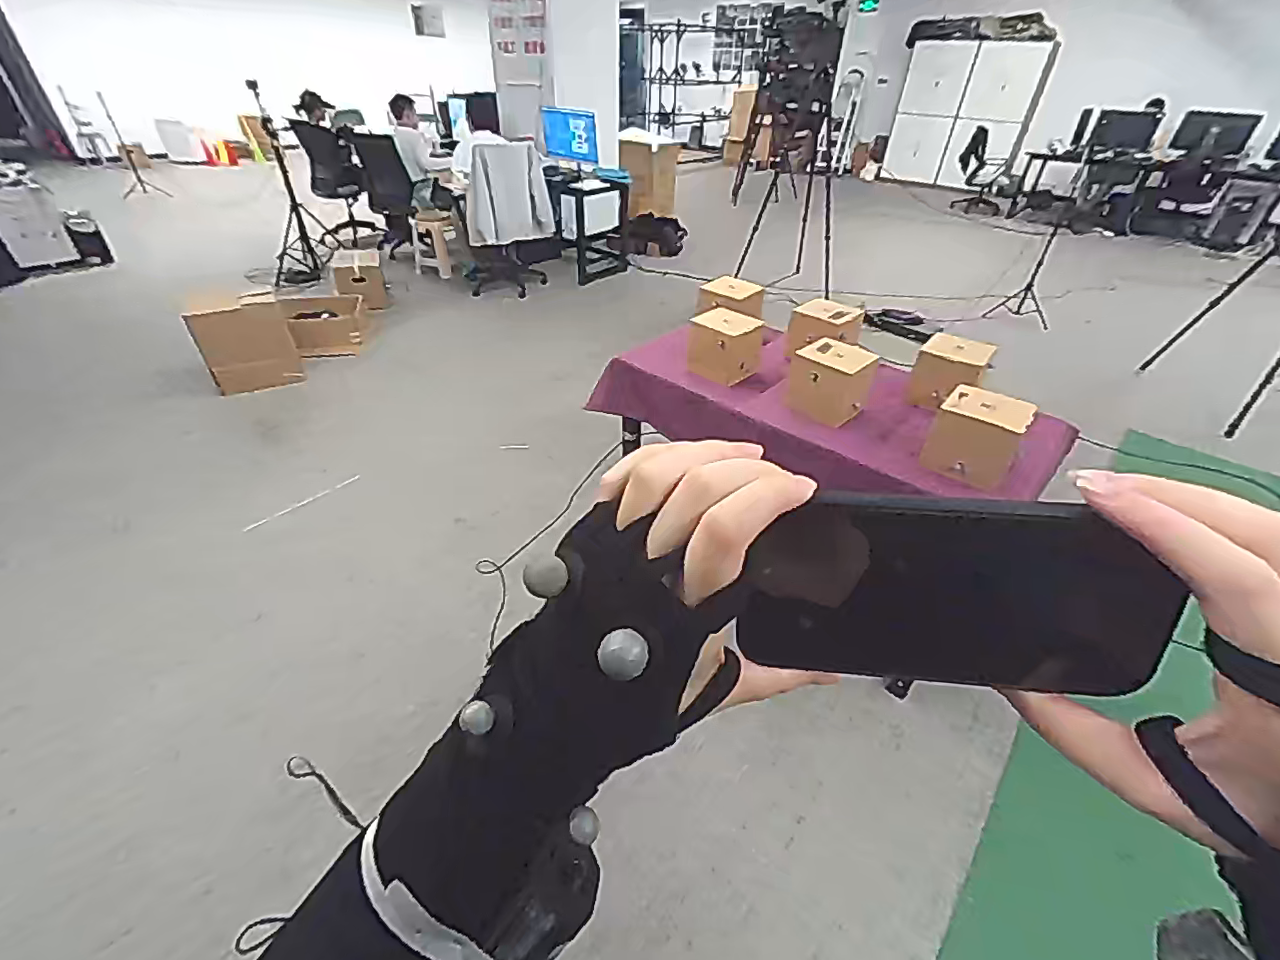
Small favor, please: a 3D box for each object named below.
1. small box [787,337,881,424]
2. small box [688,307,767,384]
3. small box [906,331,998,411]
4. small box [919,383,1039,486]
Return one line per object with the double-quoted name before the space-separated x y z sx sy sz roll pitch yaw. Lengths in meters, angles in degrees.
"small box" 0.539 -0.280 1.523 0.168 0.176 0.179 -30 49 -34
"small box" 0.268 -0.422 1.698 0.179 0.176 0.168 32 47 32
"small box" 0.900 -0.310 1.572 0.168 0.176 0.179 27 45 30
"small box" 0.814 -0.107 1.306 0.179 0.176 0.168 29 45 31
